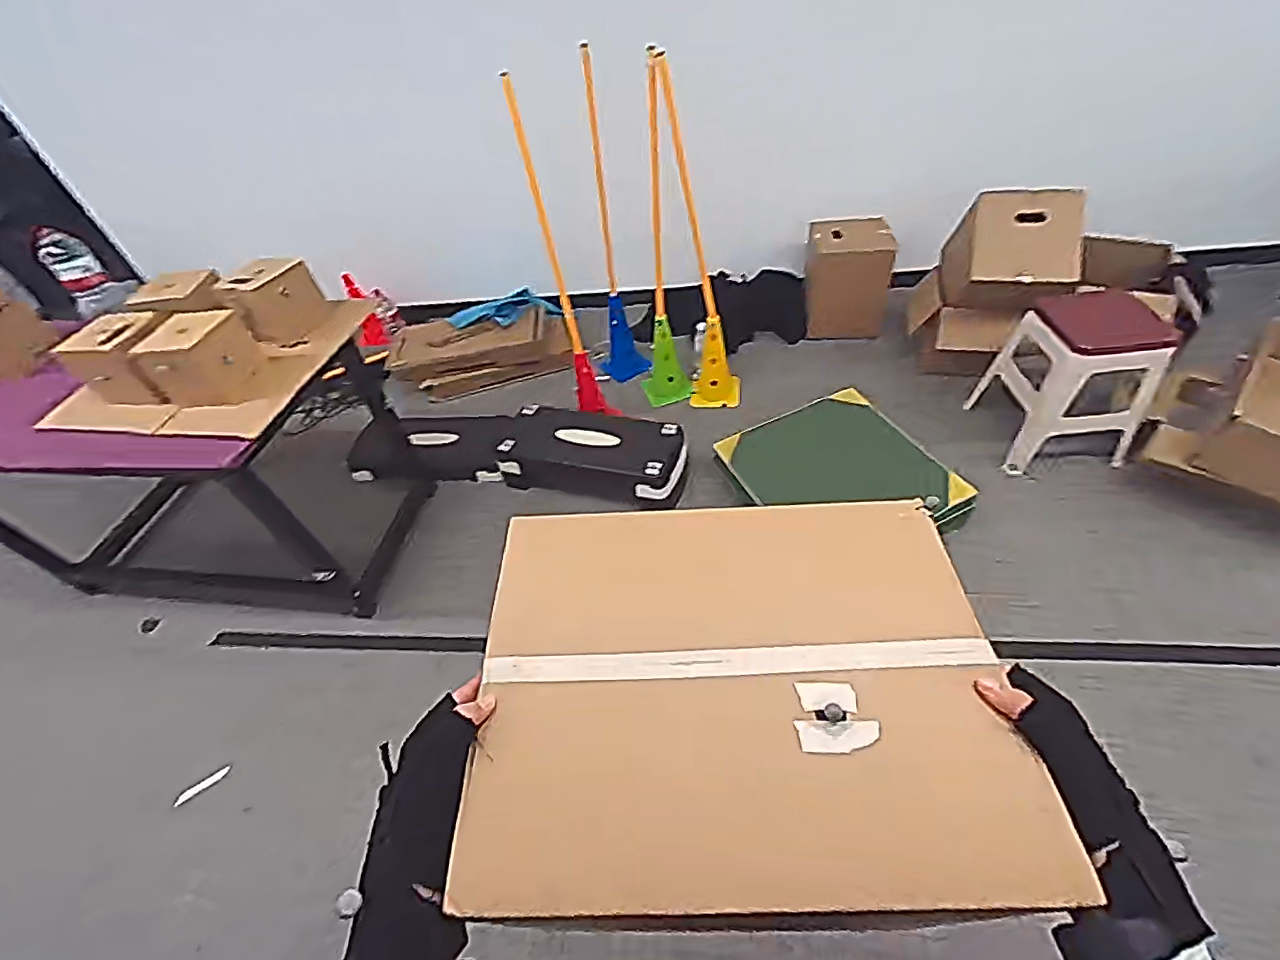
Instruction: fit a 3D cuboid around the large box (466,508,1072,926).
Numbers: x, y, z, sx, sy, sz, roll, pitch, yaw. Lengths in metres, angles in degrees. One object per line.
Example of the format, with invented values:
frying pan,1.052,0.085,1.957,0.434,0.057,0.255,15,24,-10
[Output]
large box,0.085,0.250,0.558,0.408,0.320,0.320,-2,49,2
